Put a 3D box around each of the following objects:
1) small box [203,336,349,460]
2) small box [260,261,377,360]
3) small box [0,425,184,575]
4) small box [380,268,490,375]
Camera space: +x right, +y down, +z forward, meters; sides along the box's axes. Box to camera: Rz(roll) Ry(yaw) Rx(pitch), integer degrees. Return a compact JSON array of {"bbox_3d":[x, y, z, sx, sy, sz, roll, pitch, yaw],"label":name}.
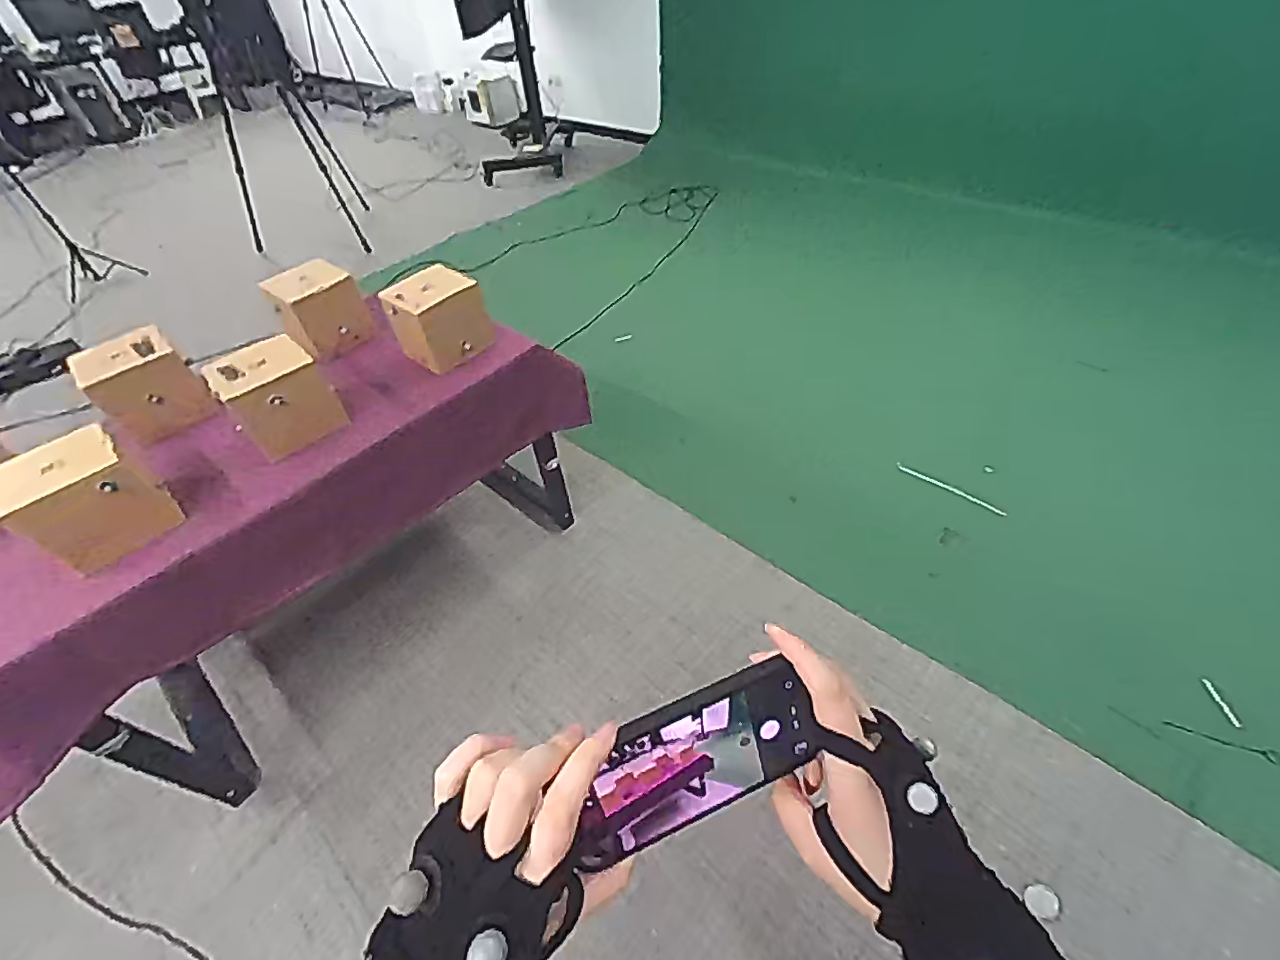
[{"bbox_3d":[-0.764,-0.172,1.149,0.179,0.176,0.168,-37,55,-27],"label":"small box"},{"bbox_3d":[-0.823,-0.435,1.396,0.179,0.176,0.168,29,57,28],"label":"small box"},{"bbox_3d":[-0.988,0.038,0.975,0.168,0.176,0.179,33,56,30],"label":"small box"},{"bbox_3d":[-0.489,-0.388,1.323,0.168,0.176,0.179,30,56,29],"label":"small box"}]
